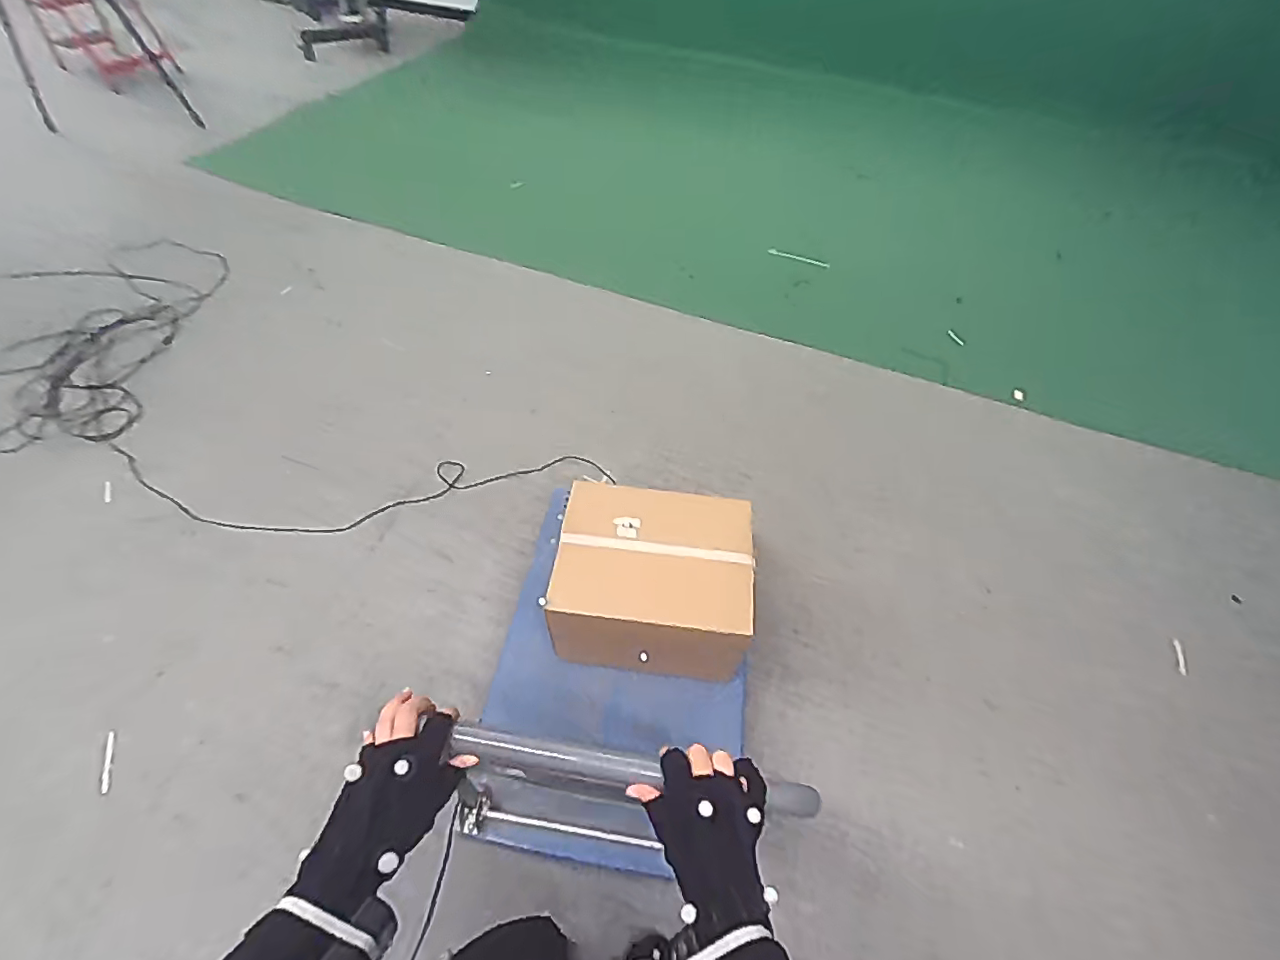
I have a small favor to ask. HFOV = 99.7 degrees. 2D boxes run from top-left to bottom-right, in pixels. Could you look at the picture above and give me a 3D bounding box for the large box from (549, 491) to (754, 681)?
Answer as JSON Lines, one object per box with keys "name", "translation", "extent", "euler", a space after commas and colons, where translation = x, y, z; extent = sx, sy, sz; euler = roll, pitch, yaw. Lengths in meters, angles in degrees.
{"name": "large box", "translation": [0.033, 0.250, 1.242], "extent": [0.408, 0.320, 0.320], "euler": [6, 53, 3]}
